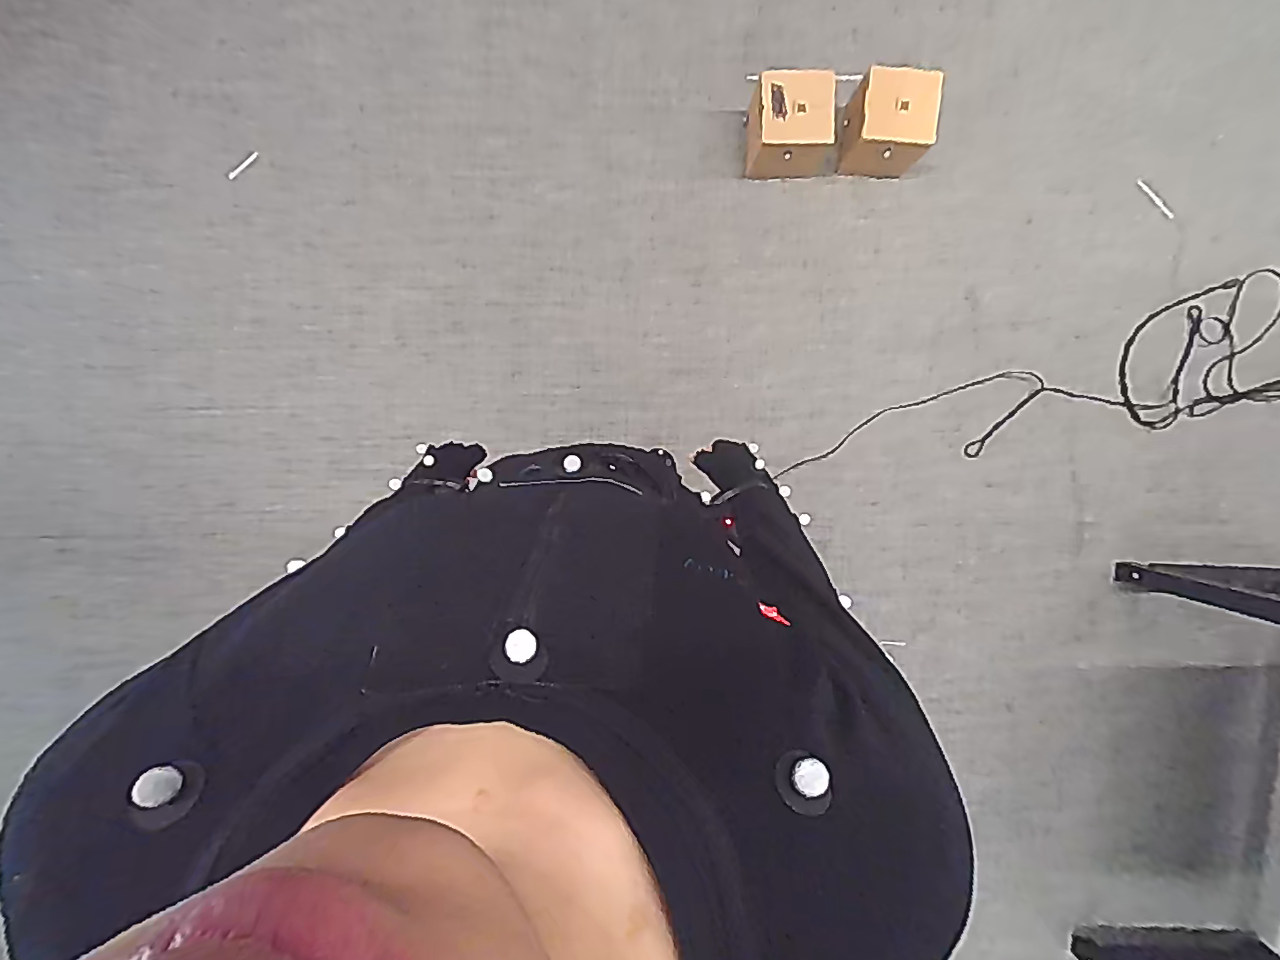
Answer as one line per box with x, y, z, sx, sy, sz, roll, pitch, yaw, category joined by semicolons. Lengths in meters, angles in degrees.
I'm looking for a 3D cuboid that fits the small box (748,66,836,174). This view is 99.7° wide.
0.366;-0.878;1.332;0.179;0.176;0.168;-1;95;-1;small box

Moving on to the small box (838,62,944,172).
0.611;-0.885;1.334;0.179;0.176;0.168;4;95;0;small box
